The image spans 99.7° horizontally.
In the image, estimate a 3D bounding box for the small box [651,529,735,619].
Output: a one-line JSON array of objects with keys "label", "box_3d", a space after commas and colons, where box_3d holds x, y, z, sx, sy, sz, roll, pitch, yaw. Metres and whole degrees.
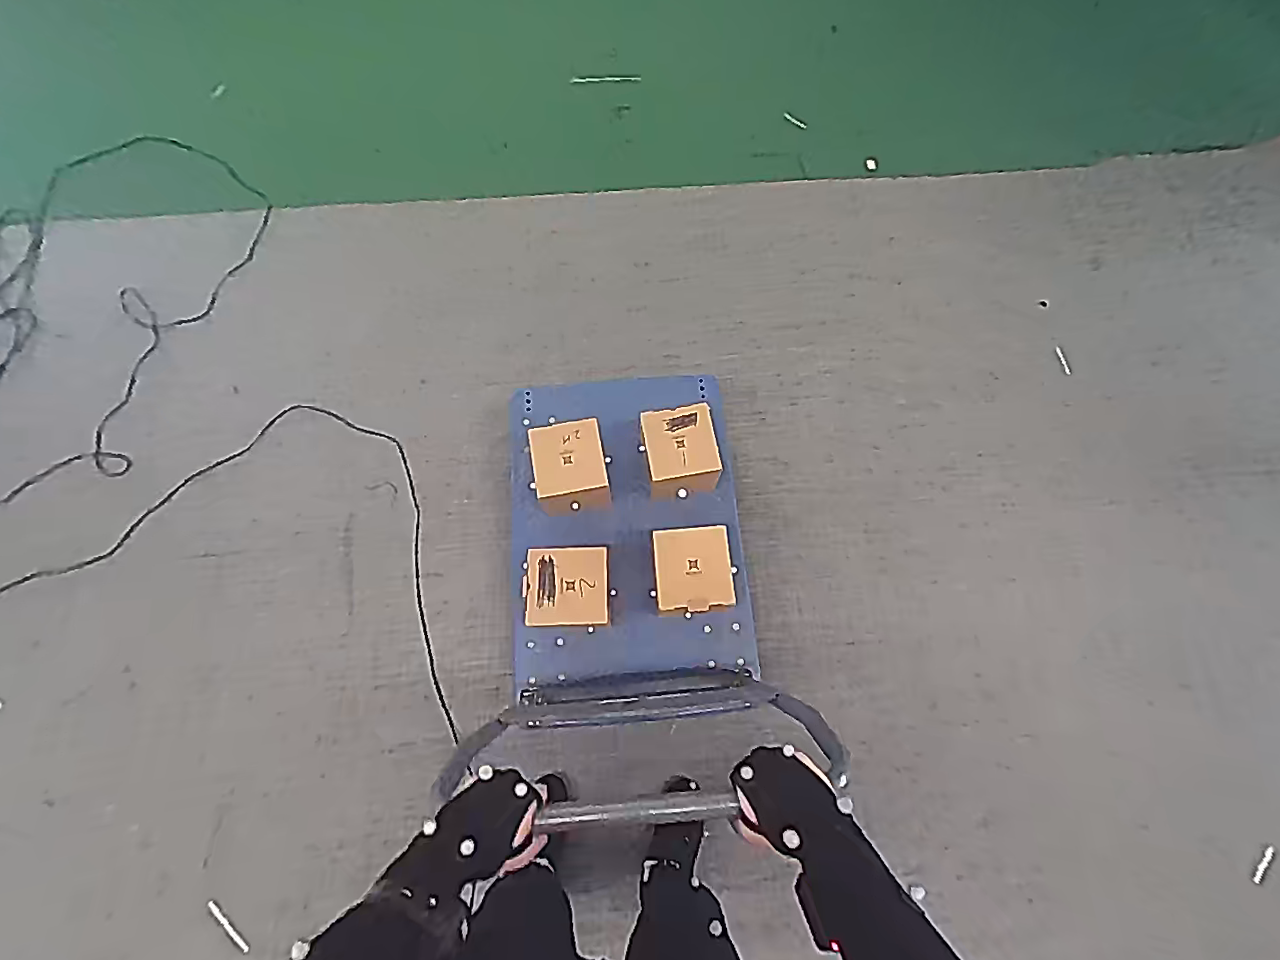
[{"label": "small box", "box_3d": [0.115, 0.221, 1.252, 0.168, 0.176, 0.179, -4, 72, -2]}]

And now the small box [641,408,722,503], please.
[{"label": "small box", "box_3d": [0.095, -0.057, 1.345, 0.168, 0.176, 0.179, -9, 72, -3]}]

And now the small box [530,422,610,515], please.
[{"label": "small box", "box_3d": [-0.168, -0.020, 1.330, 0.168, 0.176, 0.179, -10, 72, -5]}]
